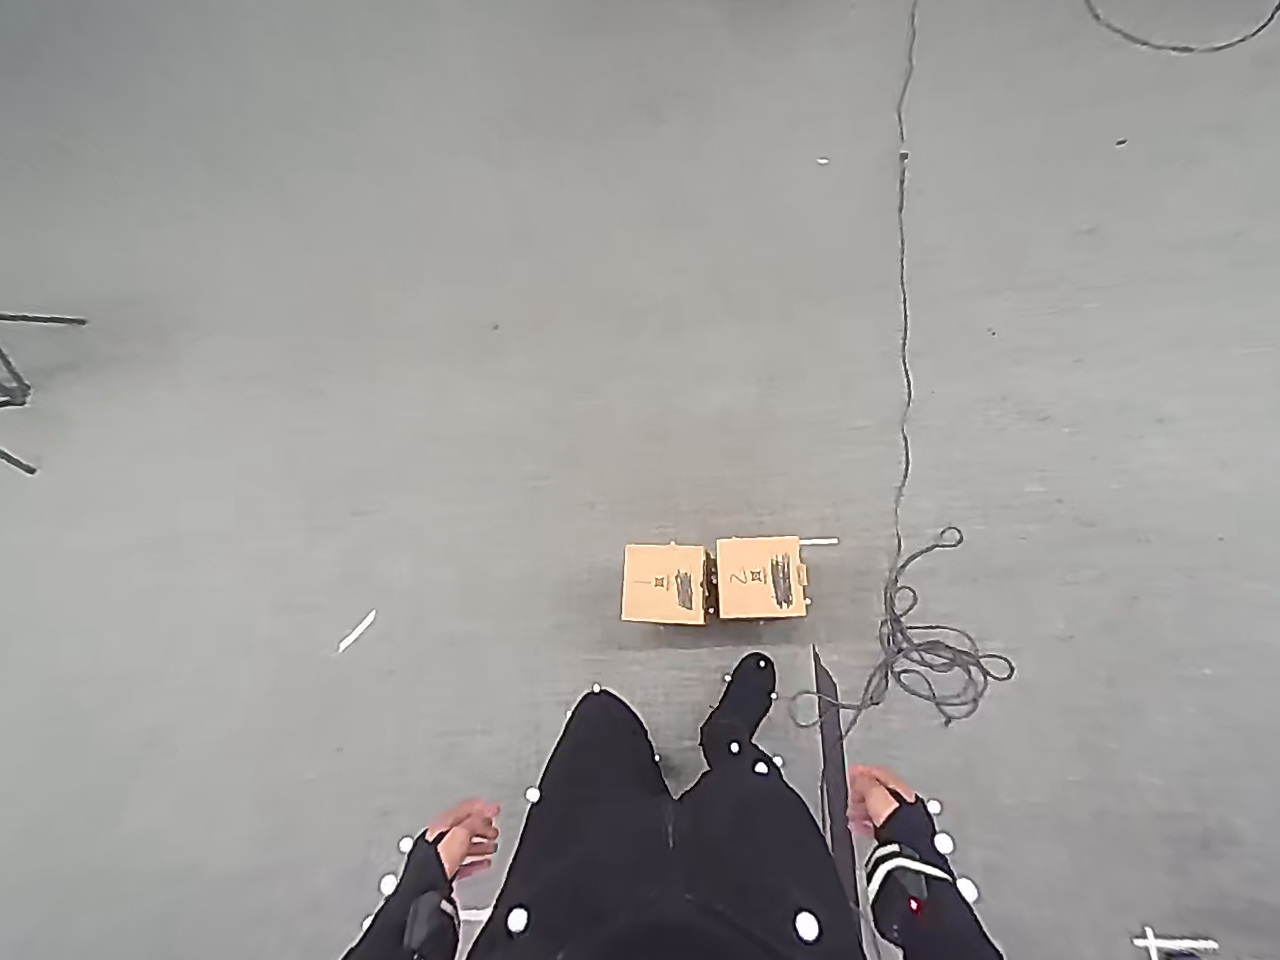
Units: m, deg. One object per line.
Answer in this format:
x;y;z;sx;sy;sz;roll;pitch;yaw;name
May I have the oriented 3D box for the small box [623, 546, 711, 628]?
0.067;0.242;1.217;0.179;0.176;0.168;0;75;12;small box
